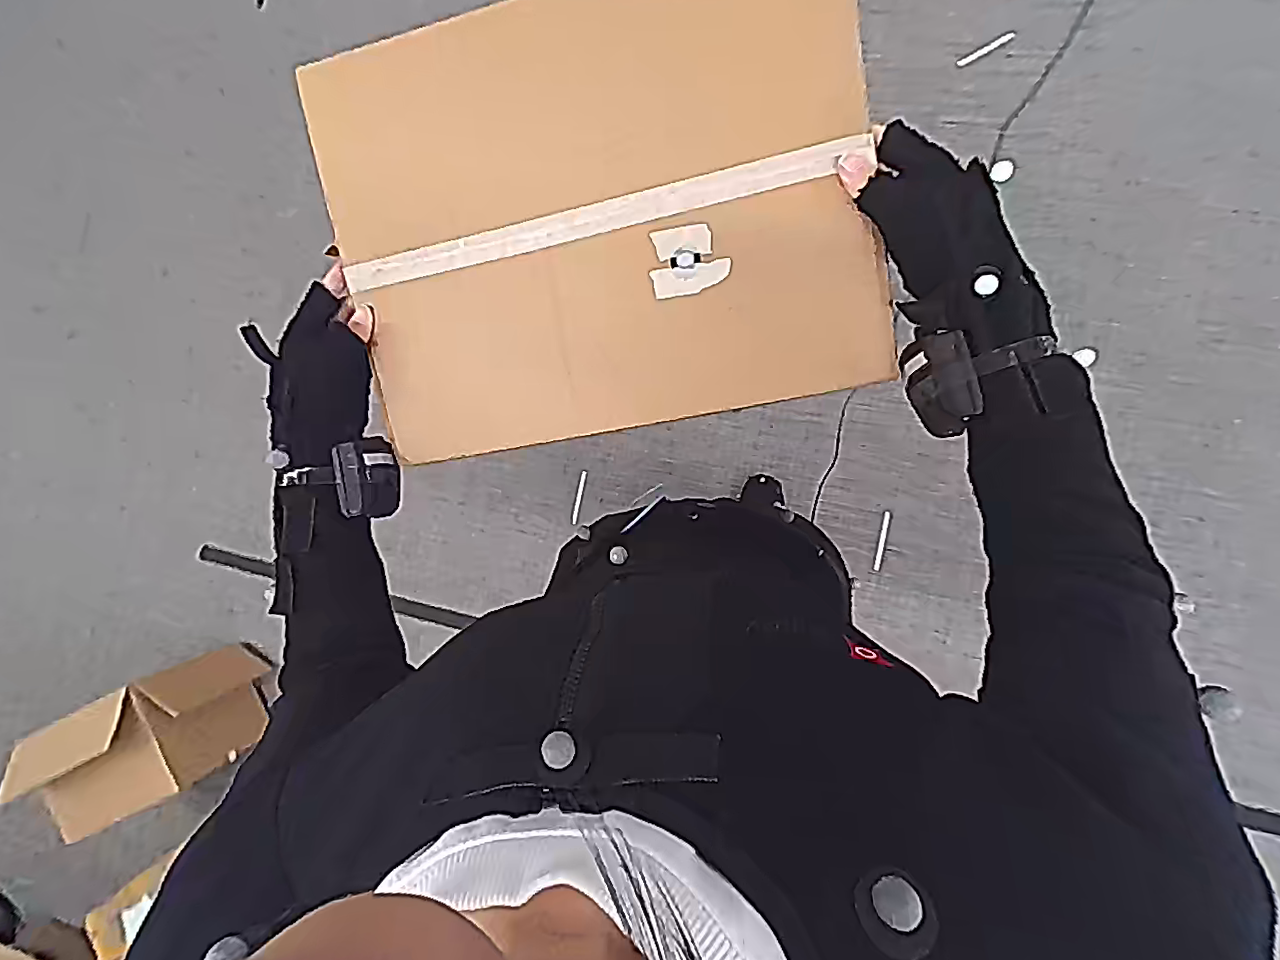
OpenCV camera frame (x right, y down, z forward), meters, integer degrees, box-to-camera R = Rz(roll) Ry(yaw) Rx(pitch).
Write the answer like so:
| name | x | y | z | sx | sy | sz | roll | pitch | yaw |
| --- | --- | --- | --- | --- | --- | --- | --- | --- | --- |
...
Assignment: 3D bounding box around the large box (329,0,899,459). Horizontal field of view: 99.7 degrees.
| name | x | y | z | sx | sy | sz | roll | pitch | yaw |
| --- | --- | --- | --- | --- | --- | --- | --- | --- | --- |
| large box | -0.008 | -0.224 | 0.560 | 0.408 | 0.320 | 0.320 | -9 | 100 | 9 |
